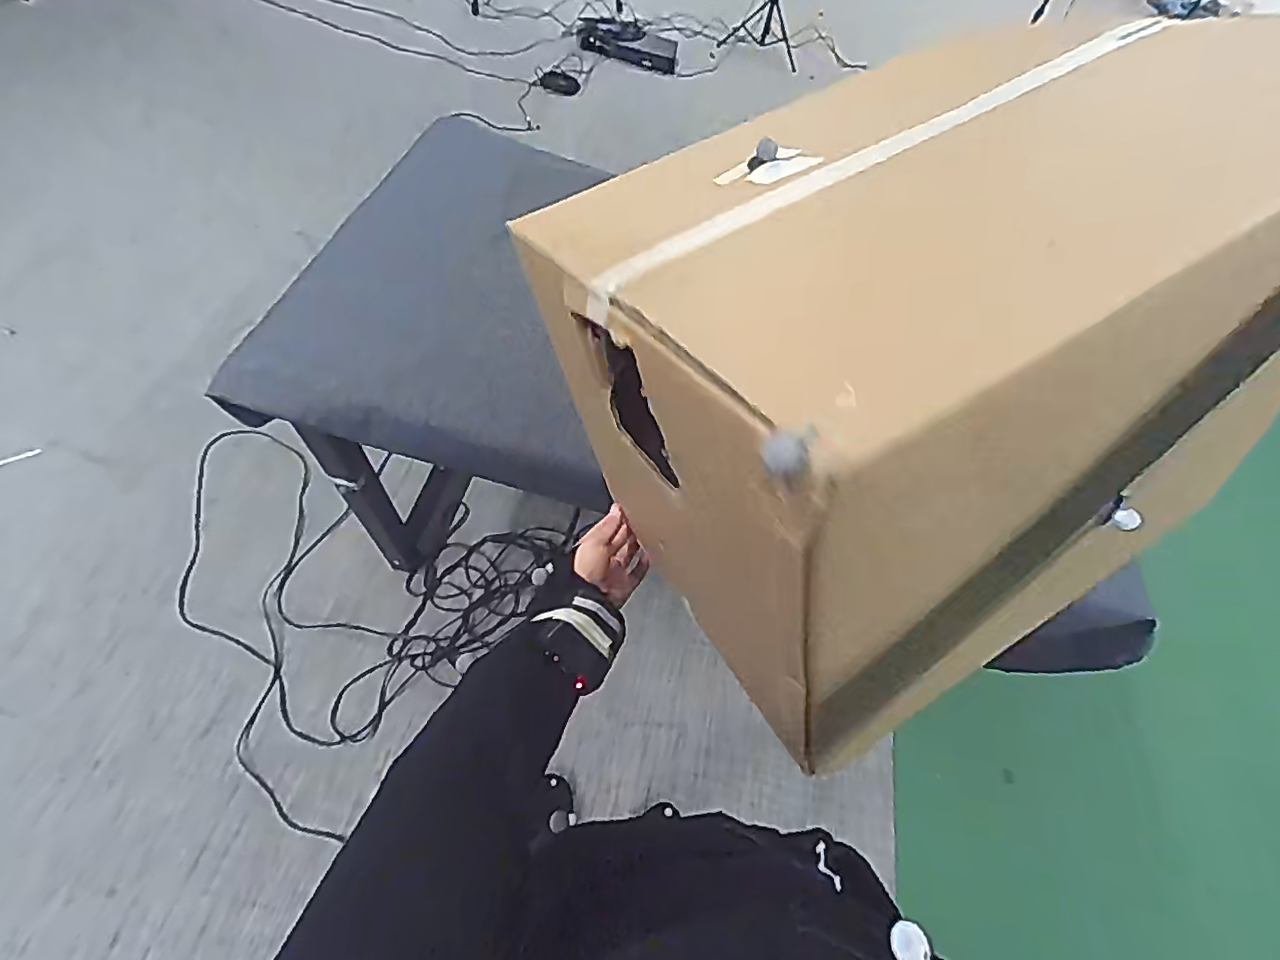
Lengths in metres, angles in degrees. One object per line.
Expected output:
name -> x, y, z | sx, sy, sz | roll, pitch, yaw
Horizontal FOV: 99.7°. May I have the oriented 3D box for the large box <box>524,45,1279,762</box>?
large box -> 0.193, -0.072, 0.418 | 0.408, 0.320, 0.320 | -31, 46, -10
